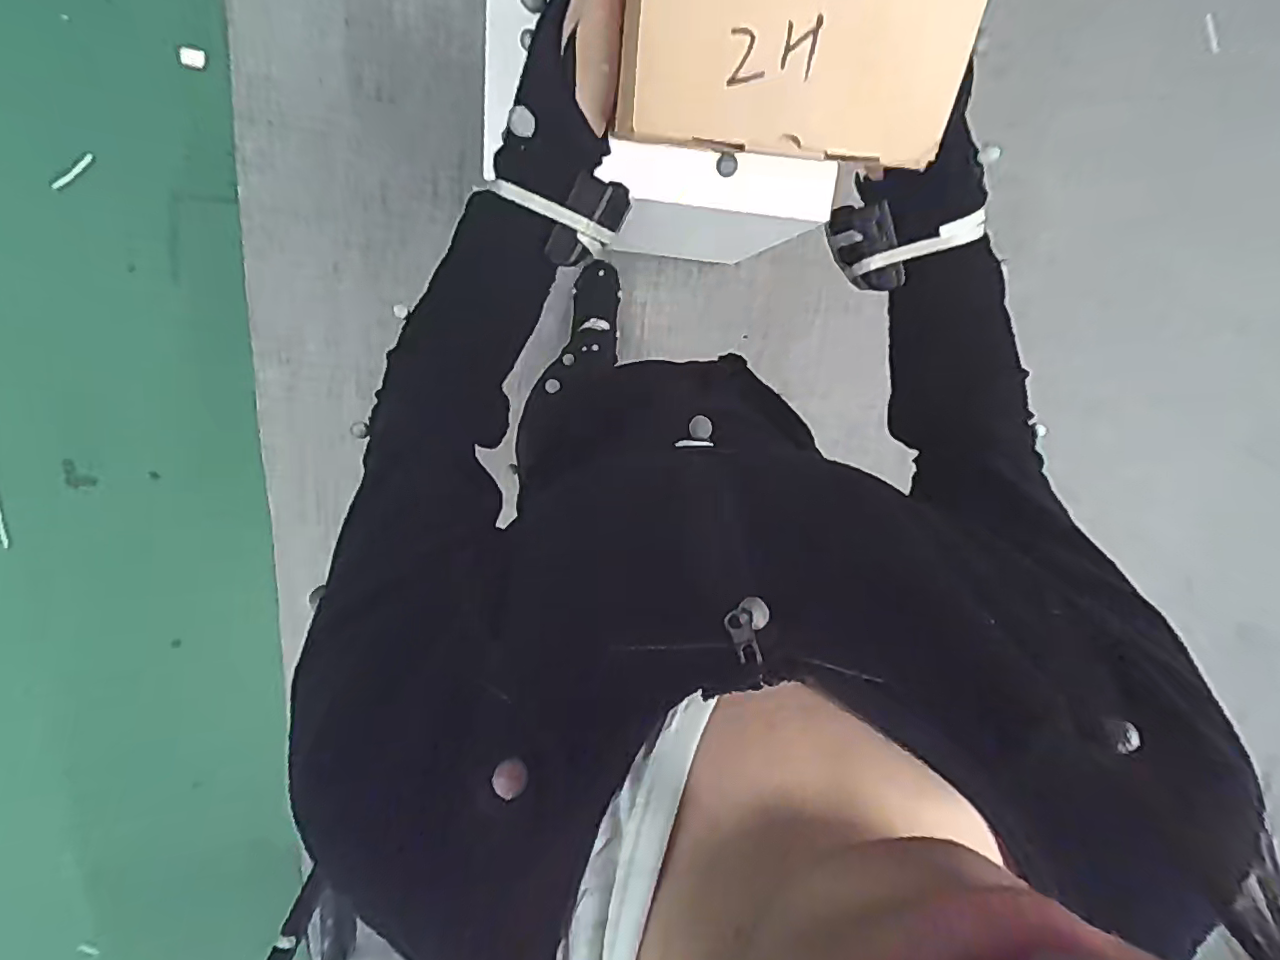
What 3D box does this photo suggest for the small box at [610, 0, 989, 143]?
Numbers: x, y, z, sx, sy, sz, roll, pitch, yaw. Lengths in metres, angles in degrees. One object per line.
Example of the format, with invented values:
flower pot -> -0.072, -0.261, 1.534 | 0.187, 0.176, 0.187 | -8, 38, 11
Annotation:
small box -> 0.074, -0.294, 0.289 | 0.168, 0.176, 0.179 | 2, 120, -8

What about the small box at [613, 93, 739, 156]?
small box -> 0.056, -0.526, 0.656 | 0.168, 0.176, 0.179 | 3, 104, -6
